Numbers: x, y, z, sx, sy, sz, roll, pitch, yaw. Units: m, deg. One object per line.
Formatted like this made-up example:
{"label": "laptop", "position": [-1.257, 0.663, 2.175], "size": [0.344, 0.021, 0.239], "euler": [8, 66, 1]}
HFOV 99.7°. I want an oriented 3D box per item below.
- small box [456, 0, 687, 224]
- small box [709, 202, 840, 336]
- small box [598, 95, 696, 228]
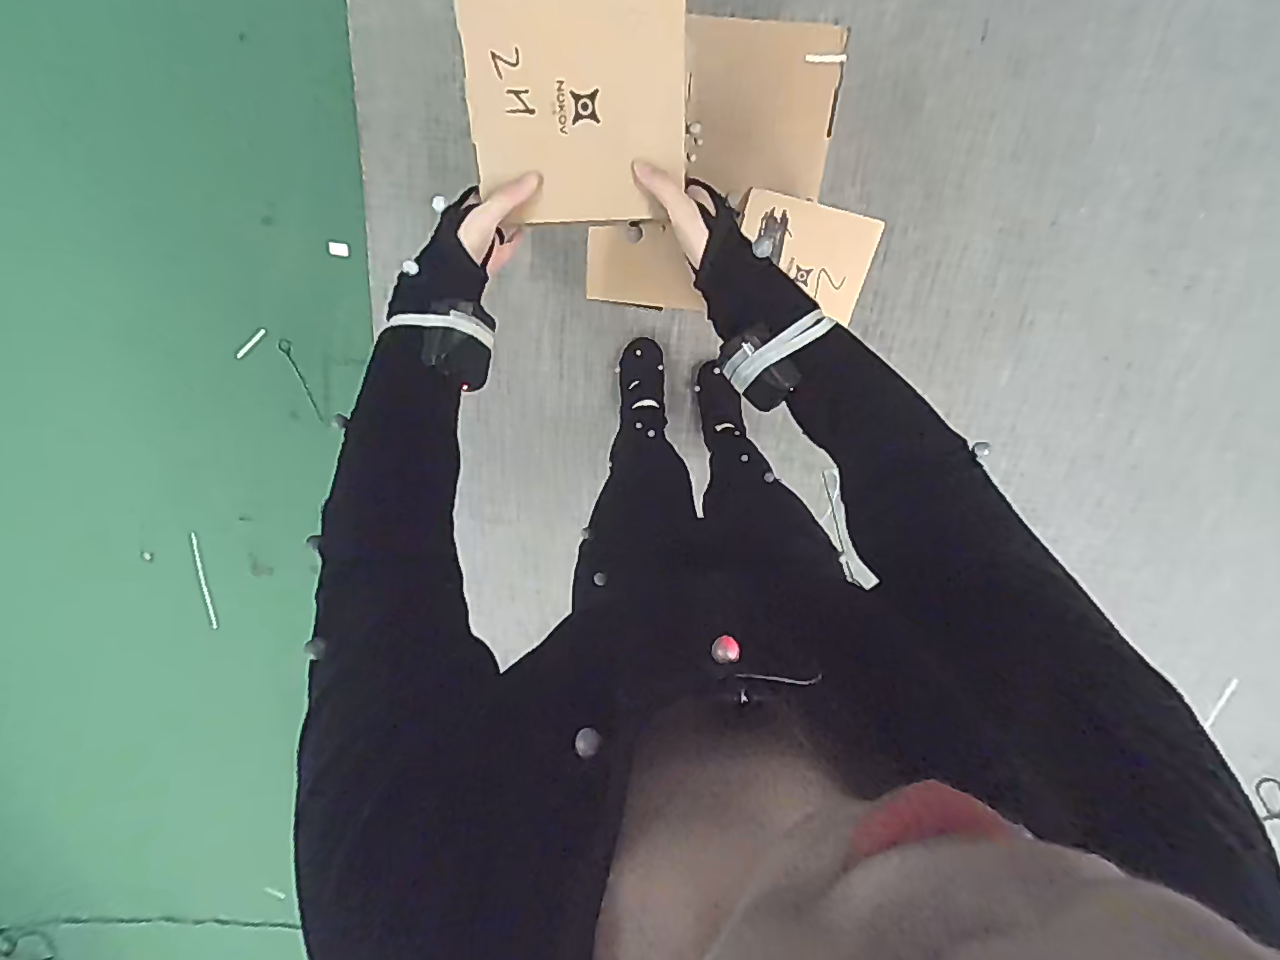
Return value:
{"label": "small box", "position": [-0.048, -0.334, 0.503], "size": [0.179, 0.176, 0.168], "euler": [2, 114, 4]}
{"label": "small box", "position": [0.215, -0.353, 0.919], "size": [0.168, 0.176, 0.179], "euler": [10, 110, 1]}
{"label": "small box", "position": [-0.003, -0.513, 0.883], "size": [0.179, 0.176, 0.168], "euler": [5, 109, 4]}
